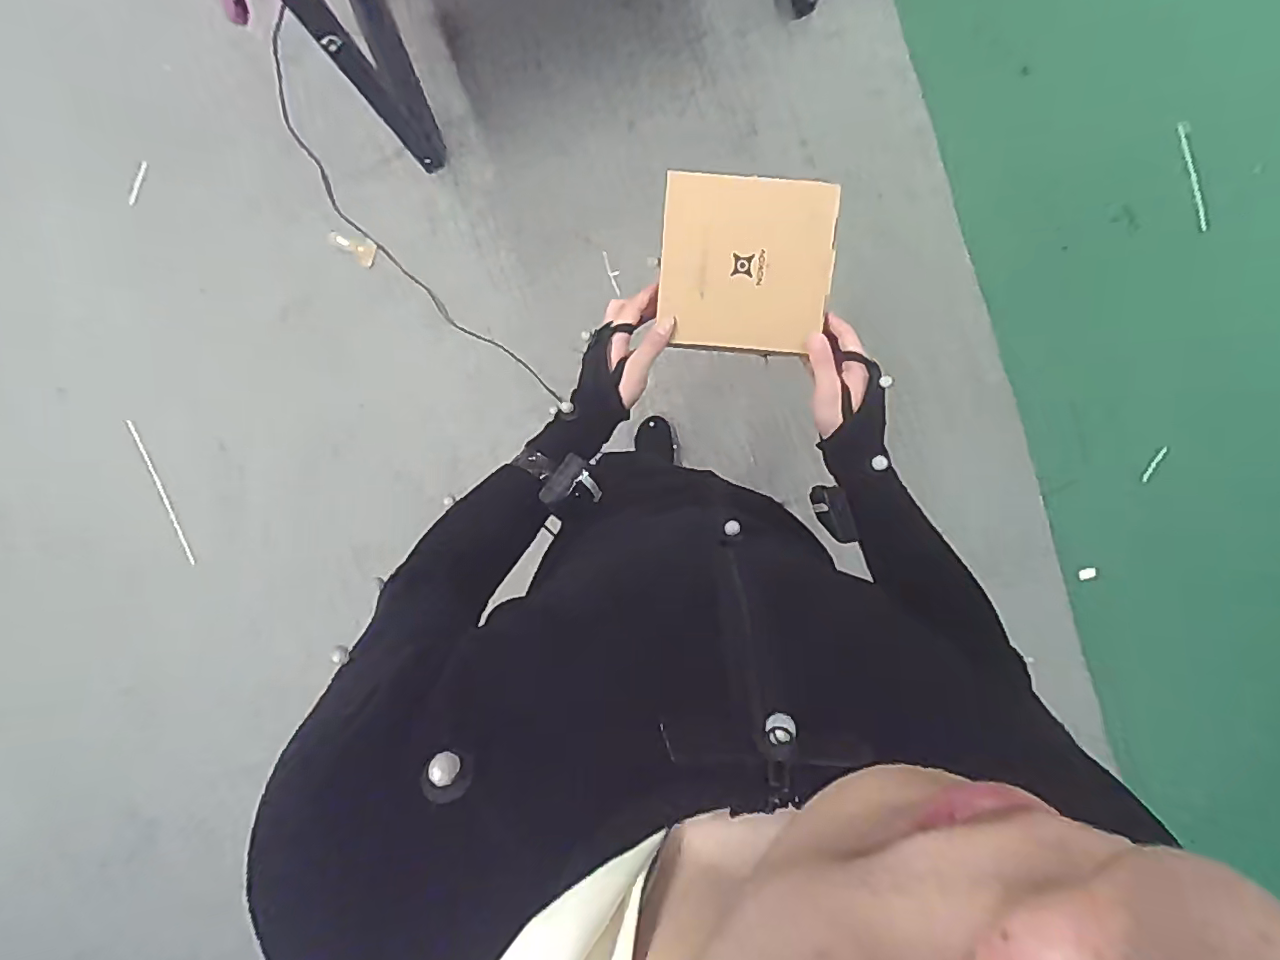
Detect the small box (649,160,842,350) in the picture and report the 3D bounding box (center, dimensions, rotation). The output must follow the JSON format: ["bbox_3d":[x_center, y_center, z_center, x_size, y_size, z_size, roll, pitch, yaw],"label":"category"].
[{"bbox_3d":[0.104,-0.239,0.616,0.179,0.176,0.168,5,102,0],"label":"small box"}]
